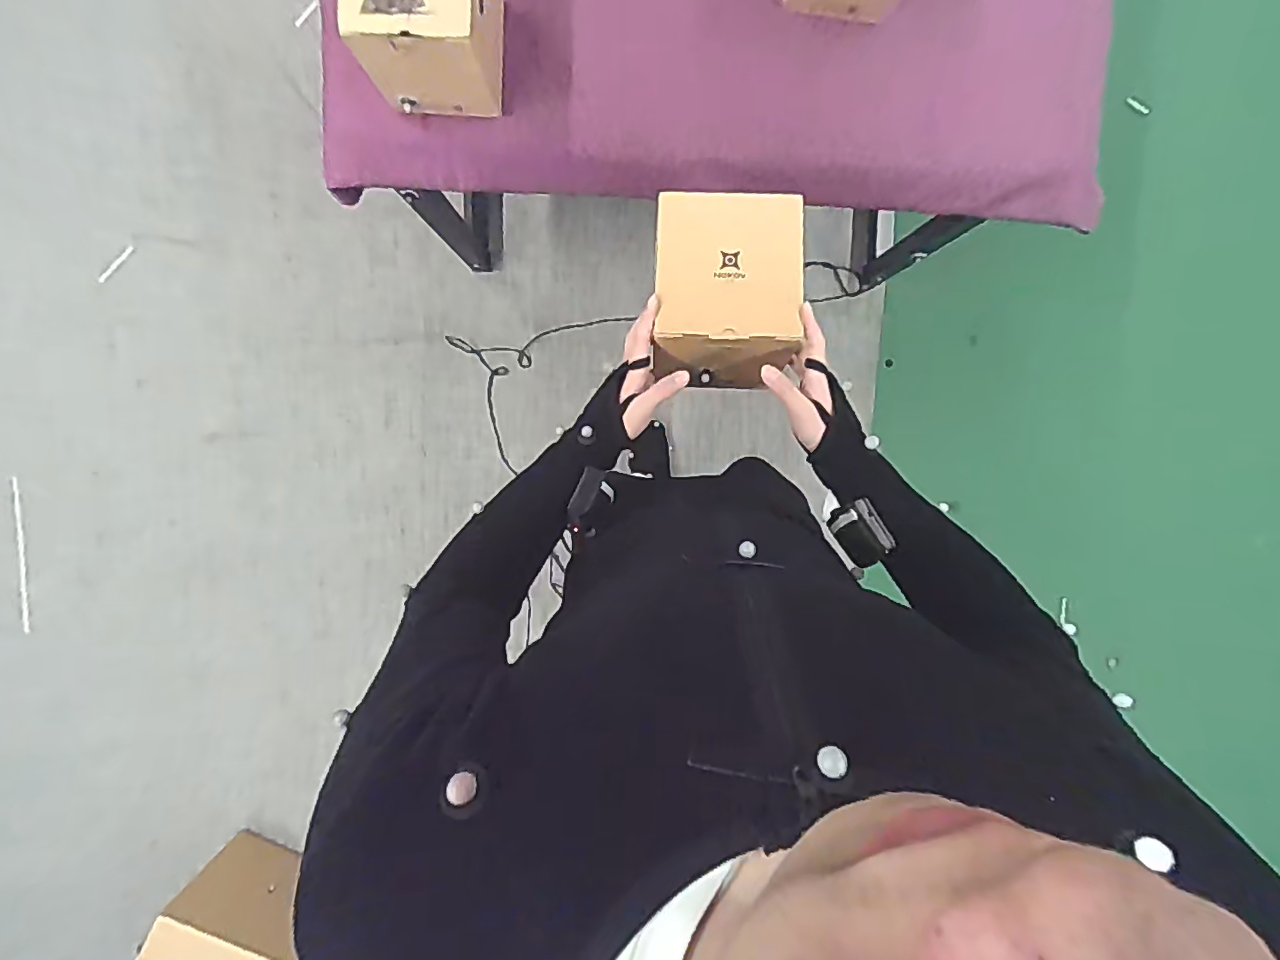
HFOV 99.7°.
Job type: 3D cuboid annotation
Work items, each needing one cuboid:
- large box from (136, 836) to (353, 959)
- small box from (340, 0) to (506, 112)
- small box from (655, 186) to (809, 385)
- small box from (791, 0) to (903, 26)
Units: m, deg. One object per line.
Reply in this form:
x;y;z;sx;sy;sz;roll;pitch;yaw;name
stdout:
-1.138;1.326;1.552;0.408;0.320;0.320;26;94;-4;large box
-0.284;-0.641;0.738;0.168;0.176;0.179;2;94;-2;small box
0.105;-0.232;0.677;0.168;0.176;0.179;2;82;1;small box
0.315;-0.787;0.742;0.168;0.176;0.179;7;94;-1;small box
